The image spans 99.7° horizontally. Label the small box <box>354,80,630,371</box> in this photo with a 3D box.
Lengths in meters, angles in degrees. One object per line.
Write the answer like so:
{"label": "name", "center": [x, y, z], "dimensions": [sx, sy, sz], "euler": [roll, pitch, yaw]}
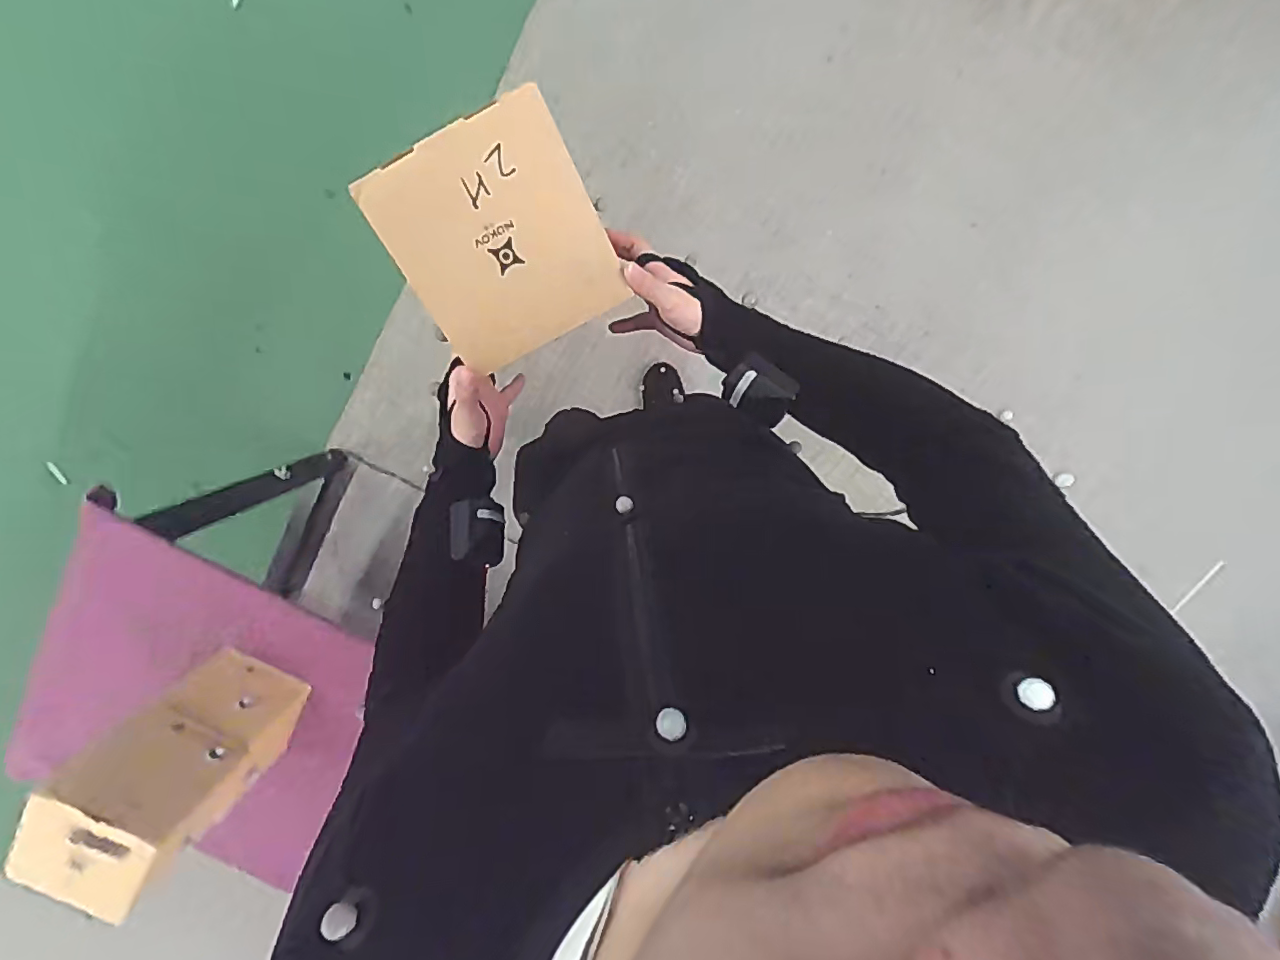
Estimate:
{"label": "small box", "center": [-0.123, -0.234, 0.516], "dimensions": [0.168, 0.176, 0.179], "euler": [-25, 117, 4]}

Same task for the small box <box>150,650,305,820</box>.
{"label": "small box", "center": [-0.726, 0.431, 0.940], "dimensions": [0.168, 0.176, 0.179], "euler": [28, 105, -6]}

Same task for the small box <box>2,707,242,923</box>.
{"label": "small box", "center": [-0.726, 0.469, 0.779], "dimensions": [0.168, 0.176, 0.179], "euler": [32, 106, -7]}
